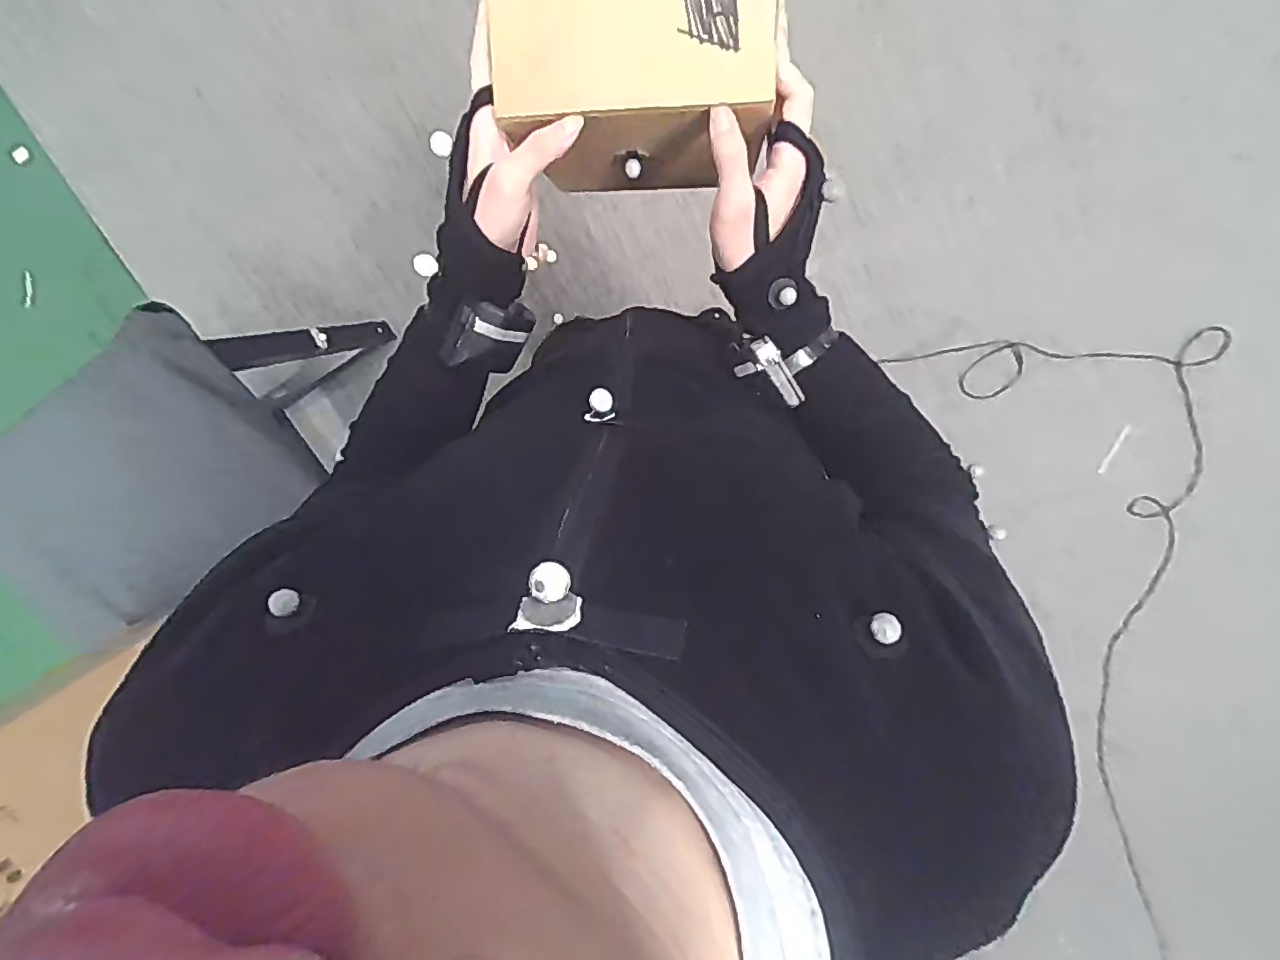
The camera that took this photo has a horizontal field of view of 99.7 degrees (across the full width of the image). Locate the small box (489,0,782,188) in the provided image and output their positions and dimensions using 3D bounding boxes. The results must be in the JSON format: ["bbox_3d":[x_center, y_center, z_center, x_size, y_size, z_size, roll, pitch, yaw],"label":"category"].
[{"bbox_3d":[0.003,-0.325,0.390,0.179,0.176,0.168,1,103,7],"label":"small box"}]
